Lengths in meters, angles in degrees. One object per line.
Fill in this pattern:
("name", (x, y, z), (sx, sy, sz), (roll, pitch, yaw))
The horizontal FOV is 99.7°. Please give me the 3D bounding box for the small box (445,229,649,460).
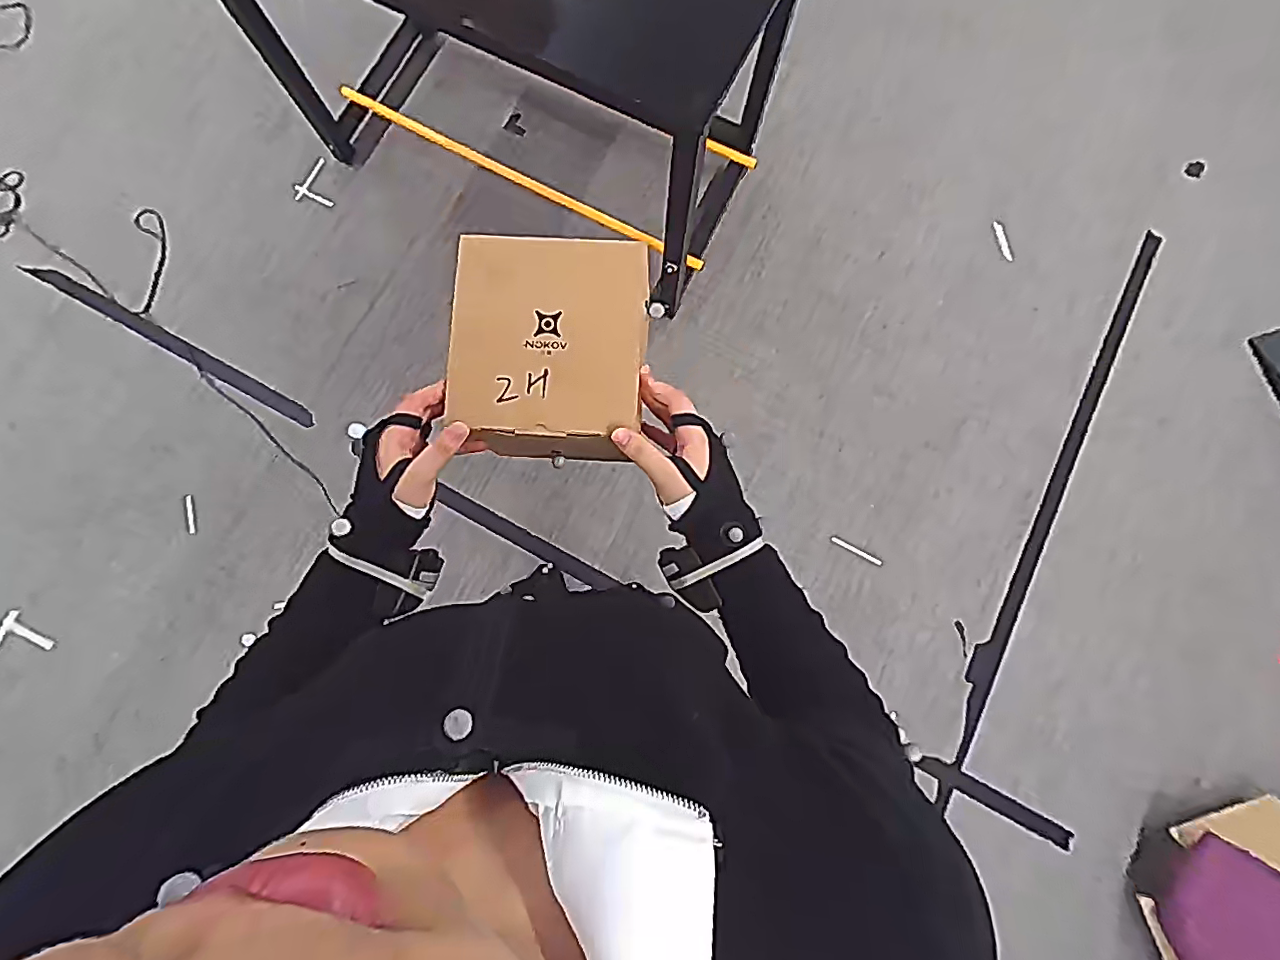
("small box", (-0.078, -0.122, 0.544), (0.168, 0.176, 0.179), (3, 84, 2))
